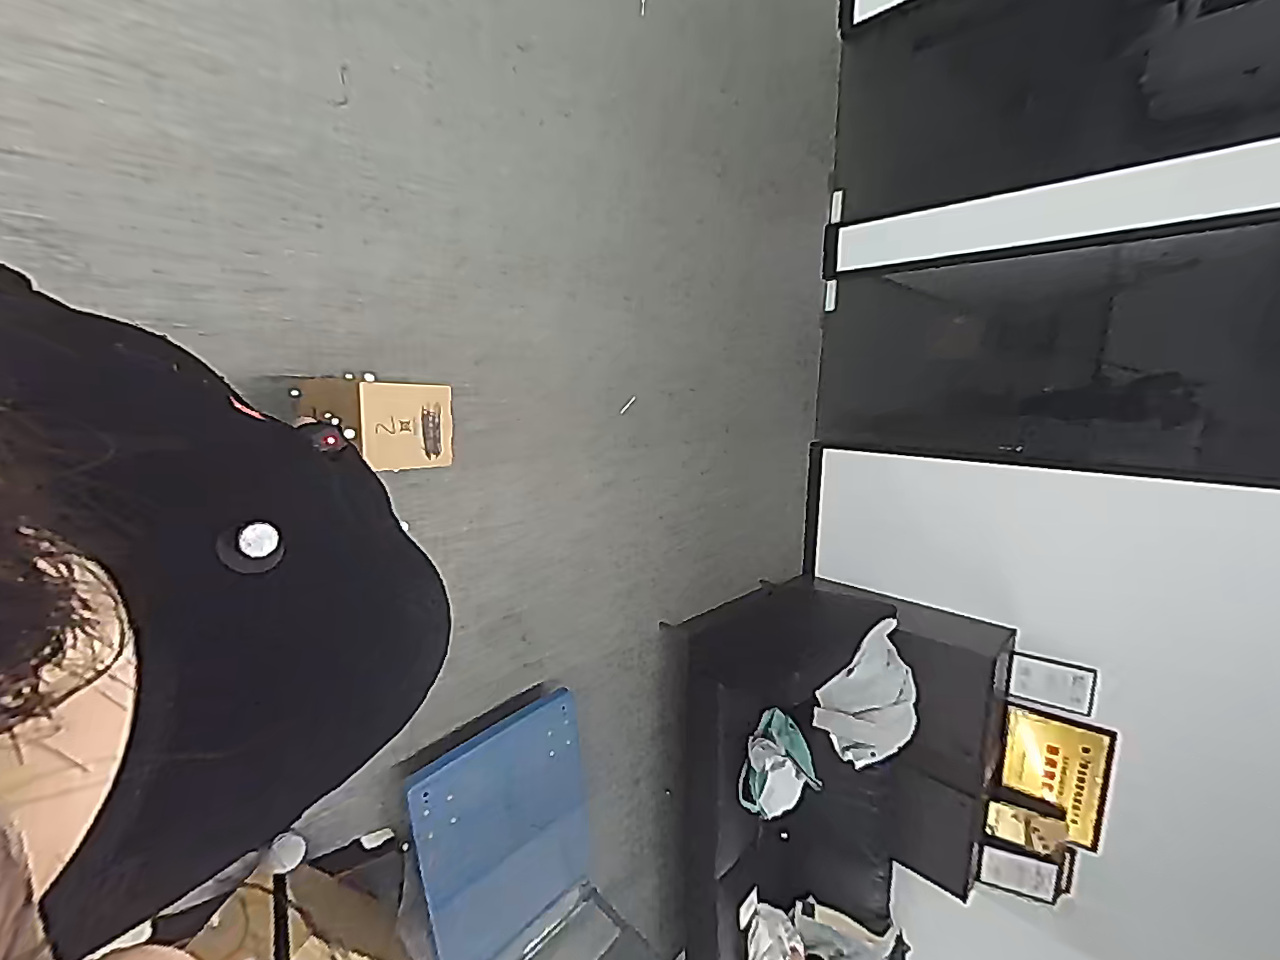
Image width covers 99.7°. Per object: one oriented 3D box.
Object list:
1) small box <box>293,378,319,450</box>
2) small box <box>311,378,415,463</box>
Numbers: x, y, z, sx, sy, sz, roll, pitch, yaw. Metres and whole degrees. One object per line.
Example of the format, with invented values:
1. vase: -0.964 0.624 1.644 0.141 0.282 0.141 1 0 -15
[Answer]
1. small box: -0.735 -0.163 1.328 0.179 0.176 0.168 -7 104 -46
2. small box: -0.622 -0.137 1.211 0.168 0.176 0.179 -6 103 -45
